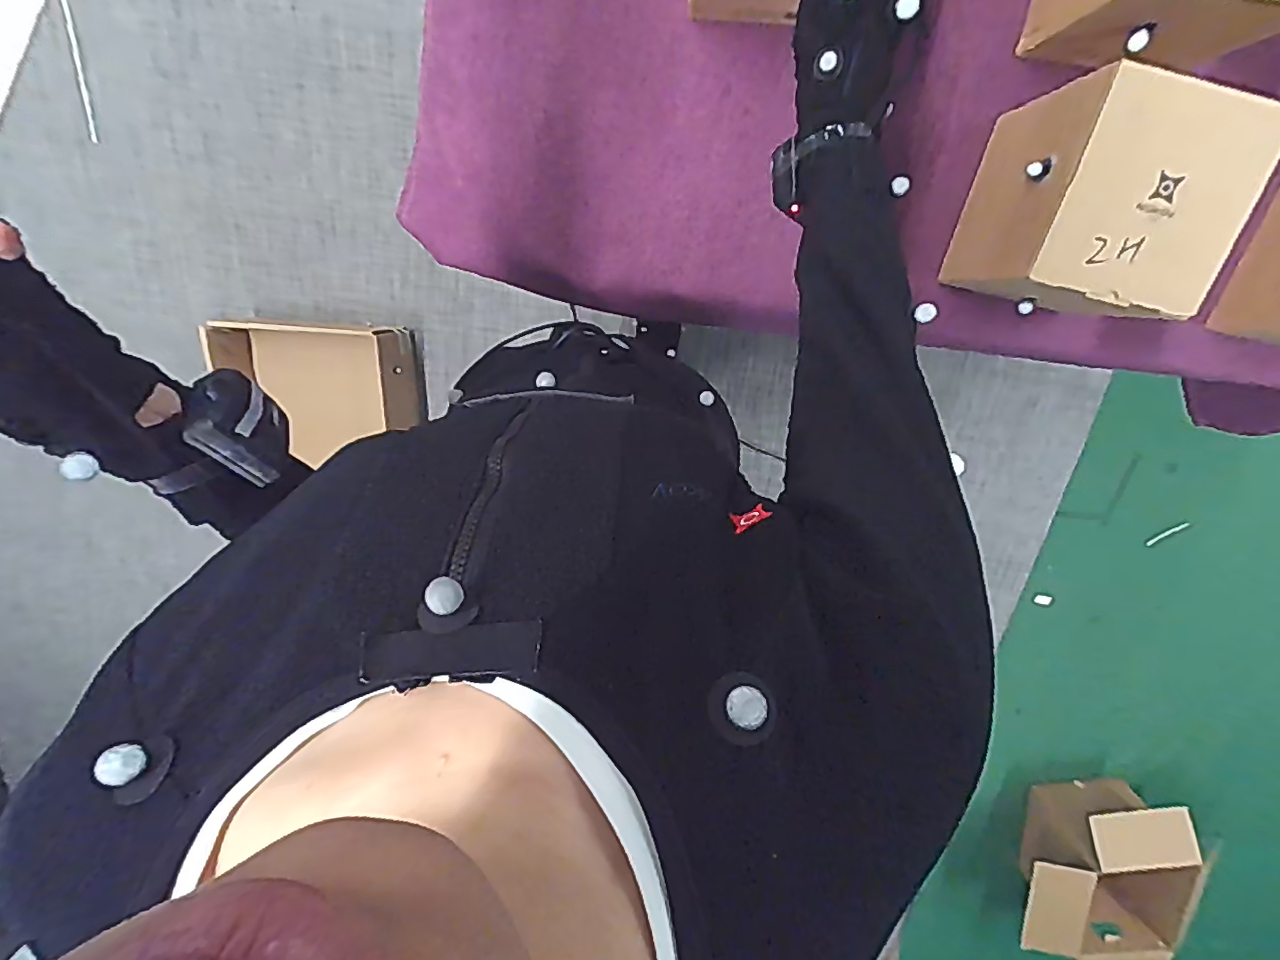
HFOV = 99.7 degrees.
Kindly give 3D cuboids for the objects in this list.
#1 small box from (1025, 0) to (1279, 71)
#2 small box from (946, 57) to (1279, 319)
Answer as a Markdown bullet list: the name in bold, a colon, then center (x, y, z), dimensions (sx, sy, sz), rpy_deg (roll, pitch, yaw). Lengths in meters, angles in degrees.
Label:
- **small box**: center (0.484, -0.485, 0.469), dimensions (0.168, 0.176, 0.179), rpy_deg (7, 110, -2)
- **small box**: center (0.449, -0.272, 0.544), dimensions (0.168, 0.176, 0.179), rpy_deg (12, 109, -3)
